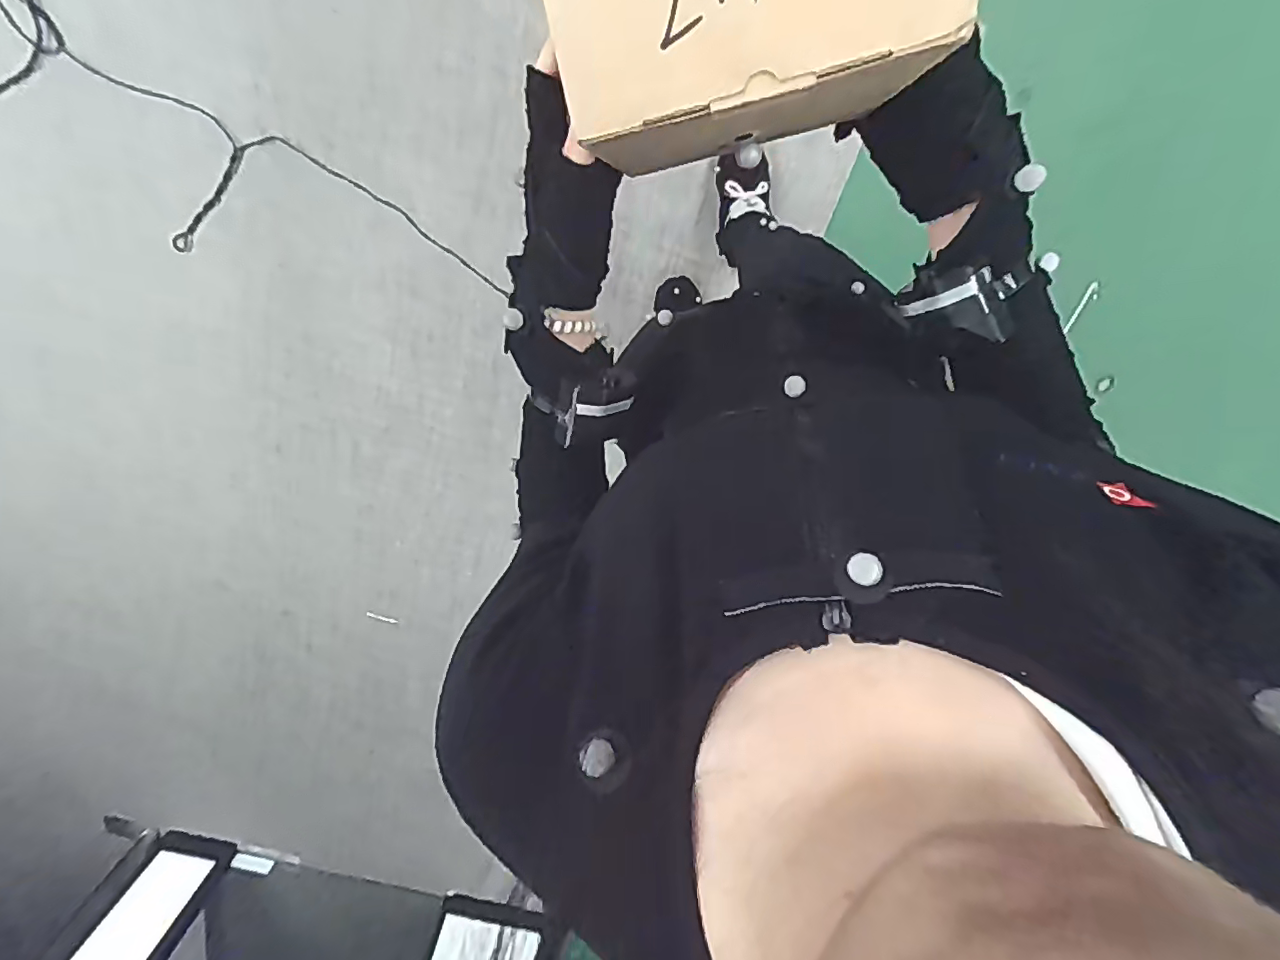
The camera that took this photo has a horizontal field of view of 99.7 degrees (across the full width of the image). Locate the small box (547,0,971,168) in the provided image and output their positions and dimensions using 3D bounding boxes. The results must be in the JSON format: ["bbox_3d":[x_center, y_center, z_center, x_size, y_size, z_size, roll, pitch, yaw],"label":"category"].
[{"bbox_3d":[0.043,-0.276,0.266,0.168,0.176,0.179,-8,114,12],"label":"small box"}]
